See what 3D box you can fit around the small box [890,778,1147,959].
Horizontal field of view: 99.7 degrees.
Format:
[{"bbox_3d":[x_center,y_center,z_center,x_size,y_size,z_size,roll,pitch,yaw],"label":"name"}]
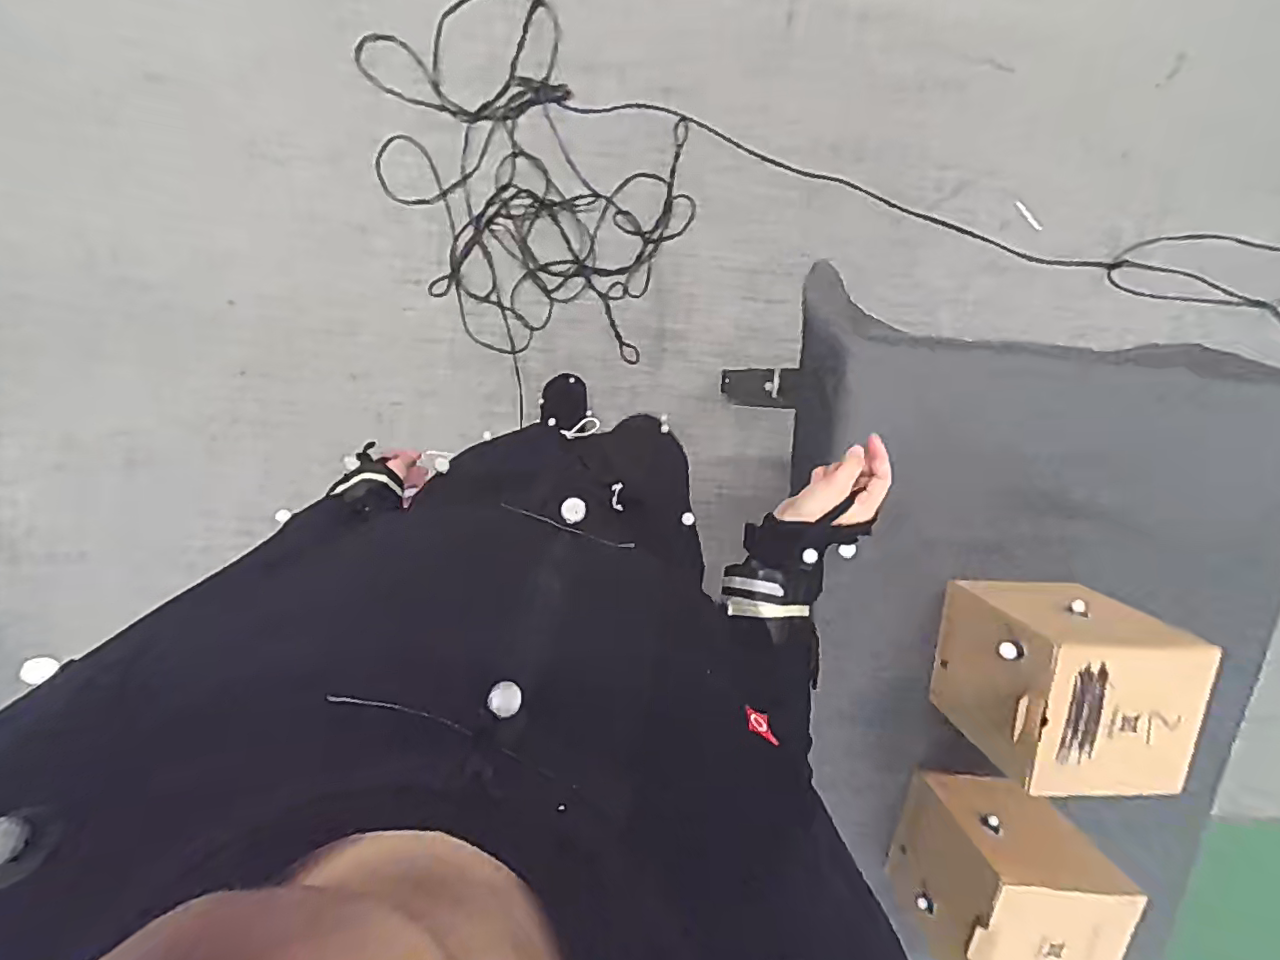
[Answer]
[{"bbox_3d":[0.446,0.503,0.670,0.179,0.176,0.168,9,102,-7],"label":"small box"}]
